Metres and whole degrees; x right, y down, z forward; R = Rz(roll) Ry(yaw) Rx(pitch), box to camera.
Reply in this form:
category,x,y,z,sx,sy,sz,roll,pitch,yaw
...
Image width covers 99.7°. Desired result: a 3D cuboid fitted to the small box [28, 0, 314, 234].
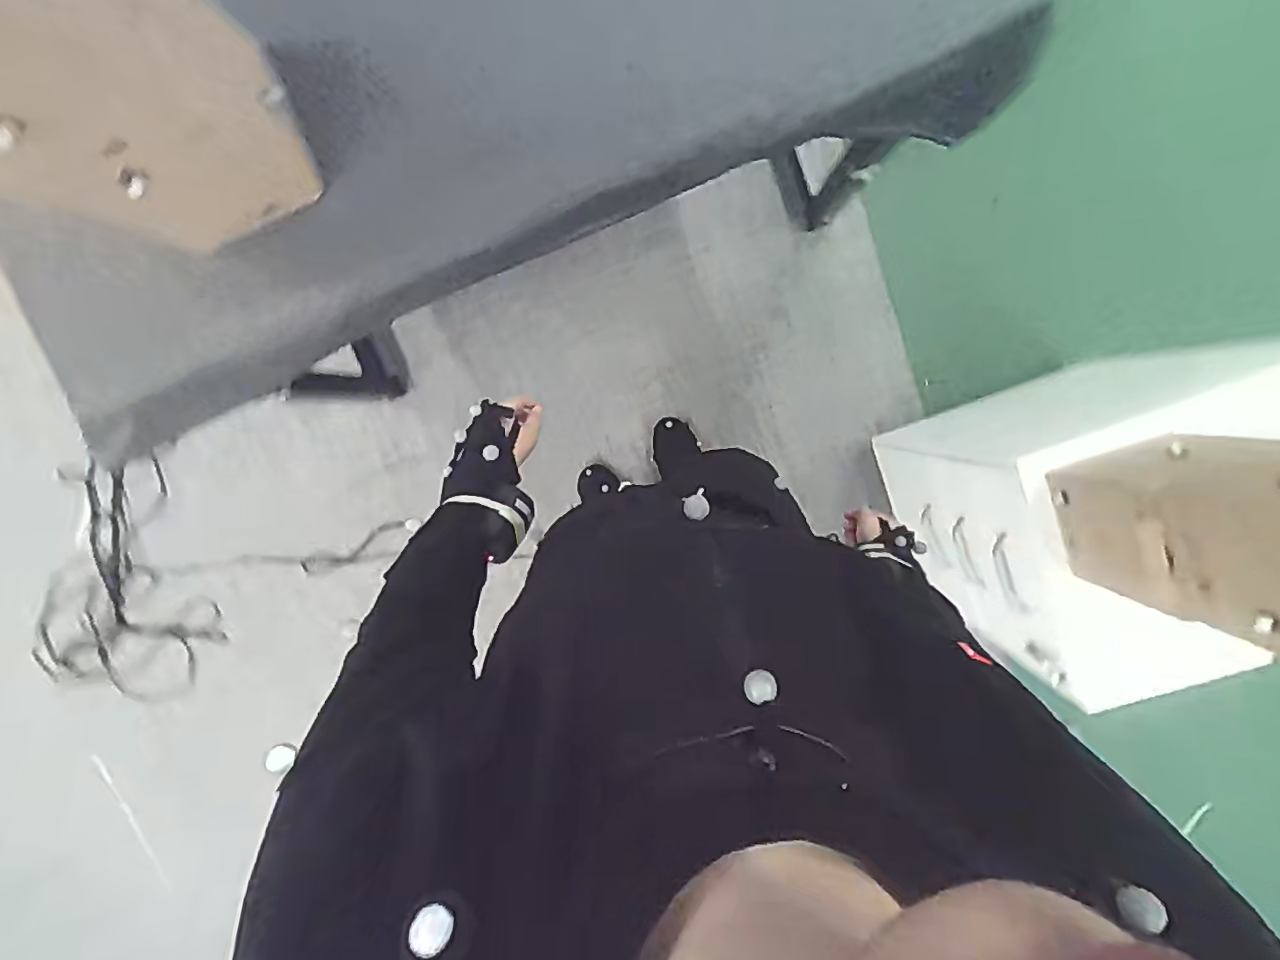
category,x,y,z,sx,sy,sz,roll,pitch,yaw
small box,-0.469,-0.376,0.526,0.168,0.176,0.179,-21,96,5

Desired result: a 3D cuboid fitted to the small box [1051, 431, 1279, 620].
category,x,y,z,sx,sy,sz,roll,pitch,yaw
small box,0.655,0.045,0.669,0.179,0.176,0.168,-19,97,4
